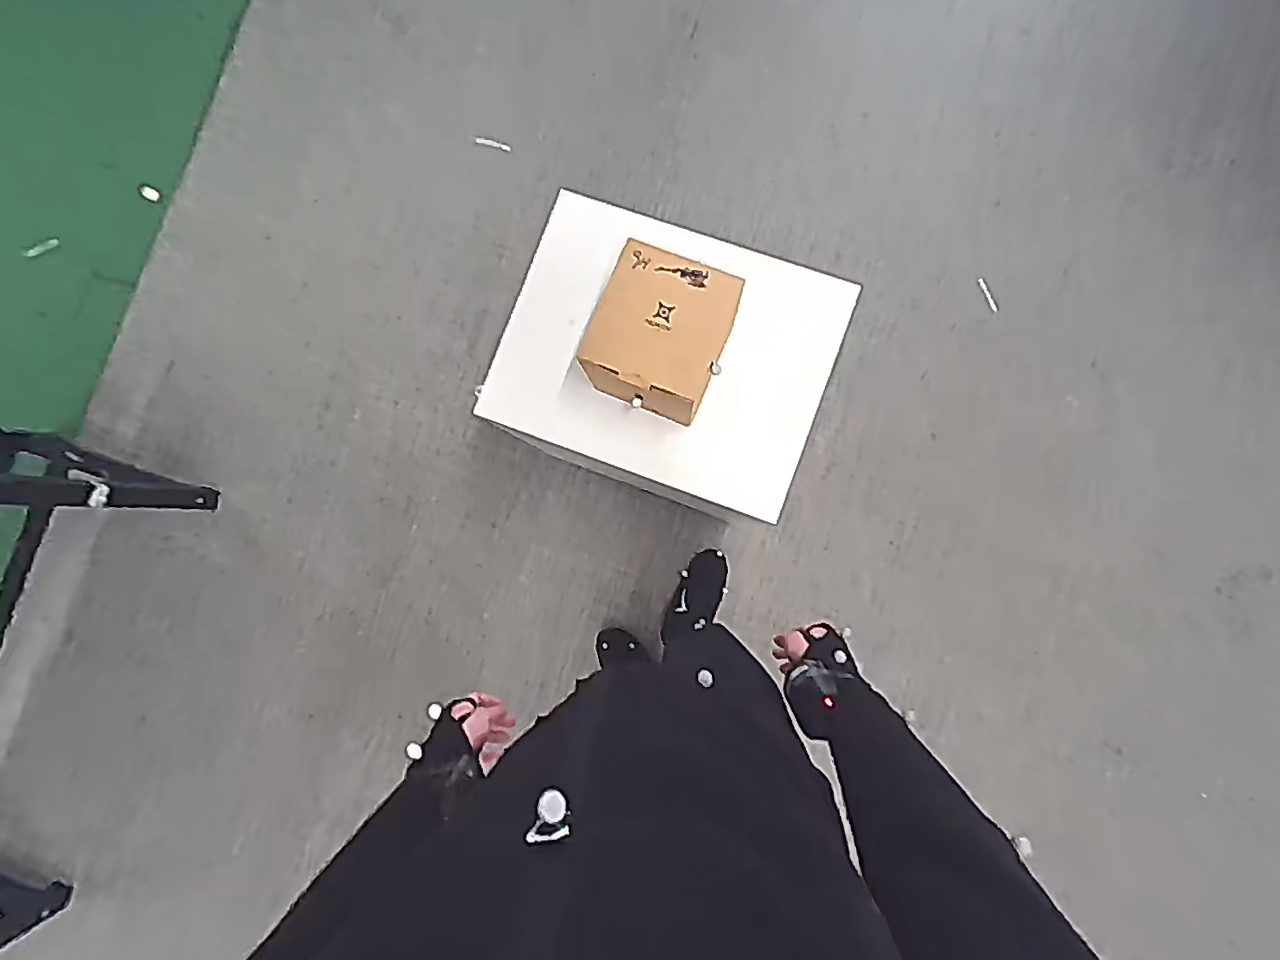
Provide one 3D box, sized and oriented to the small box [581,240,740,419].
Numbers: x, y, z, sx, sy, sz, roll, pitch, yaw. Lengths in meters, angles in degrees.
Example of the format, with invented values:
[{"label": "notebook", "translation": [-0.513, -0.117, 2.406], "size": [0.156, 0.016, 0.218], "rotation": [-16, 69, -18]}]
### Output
[{"label": "small box", "translation": [0.033, -0.203, 0.782], "size": [0.168, 0.176, 0.179], "rotation": [20, 86, 5]}]
